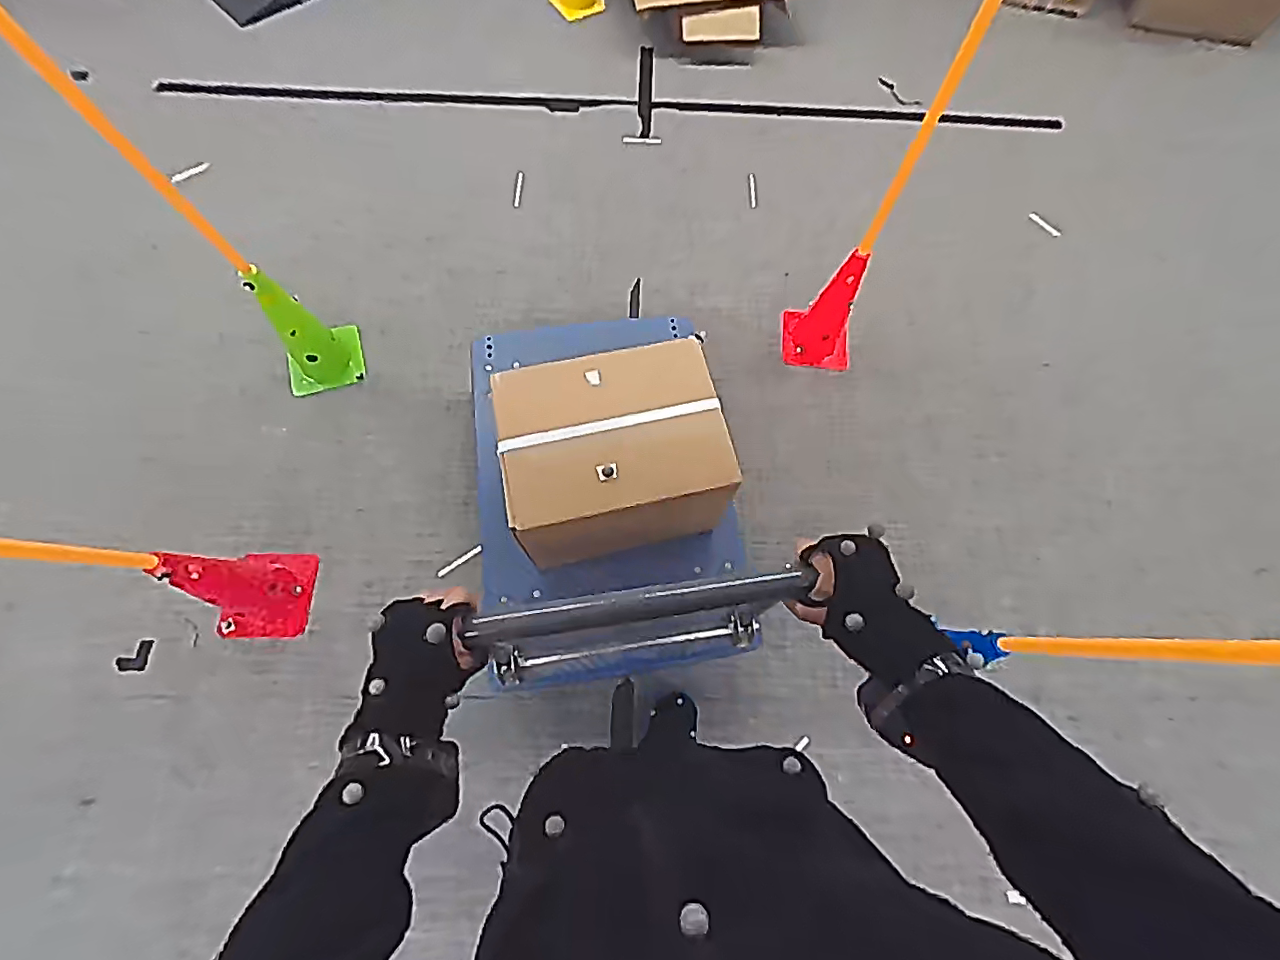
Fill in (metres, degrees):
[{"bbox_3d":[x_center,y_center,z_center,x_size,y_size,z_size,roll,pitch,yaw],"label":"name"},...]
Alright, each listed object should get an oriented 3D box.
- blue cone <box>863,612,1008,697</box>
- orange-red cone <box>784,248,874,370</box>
[{"bbox_3d":[0.658,0.359,1.164,0.193,0.380,0.192,-2,67,-3],"label":"blue cone"},{"bbox_3d":[0.547,-0.489,1.478,0.199,0.360,0.198,8,69,0],"label":"orange-red cone"}]
